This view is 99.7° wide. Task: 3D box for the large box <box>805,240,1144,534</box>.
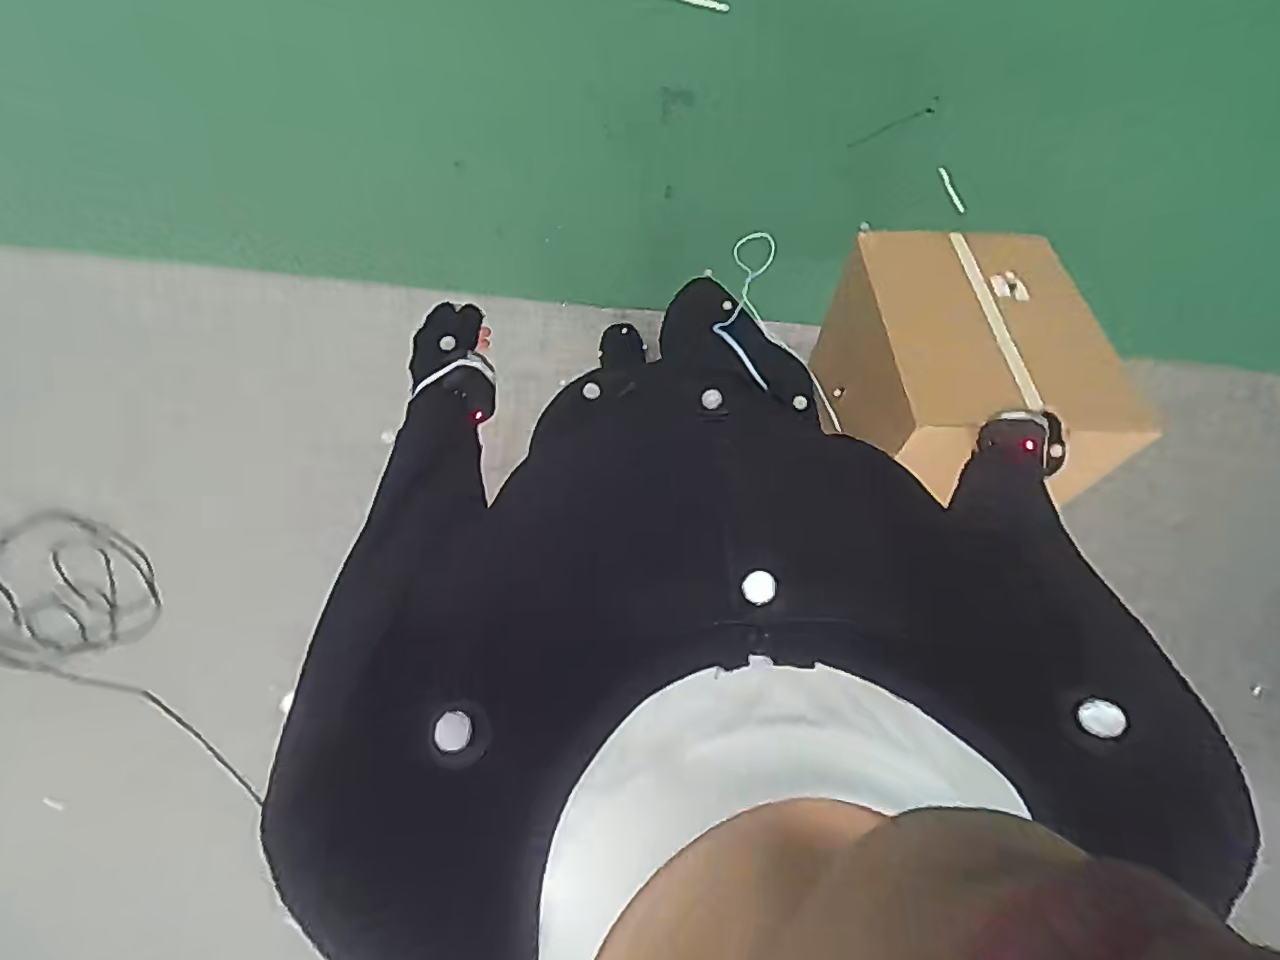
[{"bbox_3d":[0.500,-0.151,0.926,0.320,0.408,0.320,2,147,-1],"label":"large box"}]
